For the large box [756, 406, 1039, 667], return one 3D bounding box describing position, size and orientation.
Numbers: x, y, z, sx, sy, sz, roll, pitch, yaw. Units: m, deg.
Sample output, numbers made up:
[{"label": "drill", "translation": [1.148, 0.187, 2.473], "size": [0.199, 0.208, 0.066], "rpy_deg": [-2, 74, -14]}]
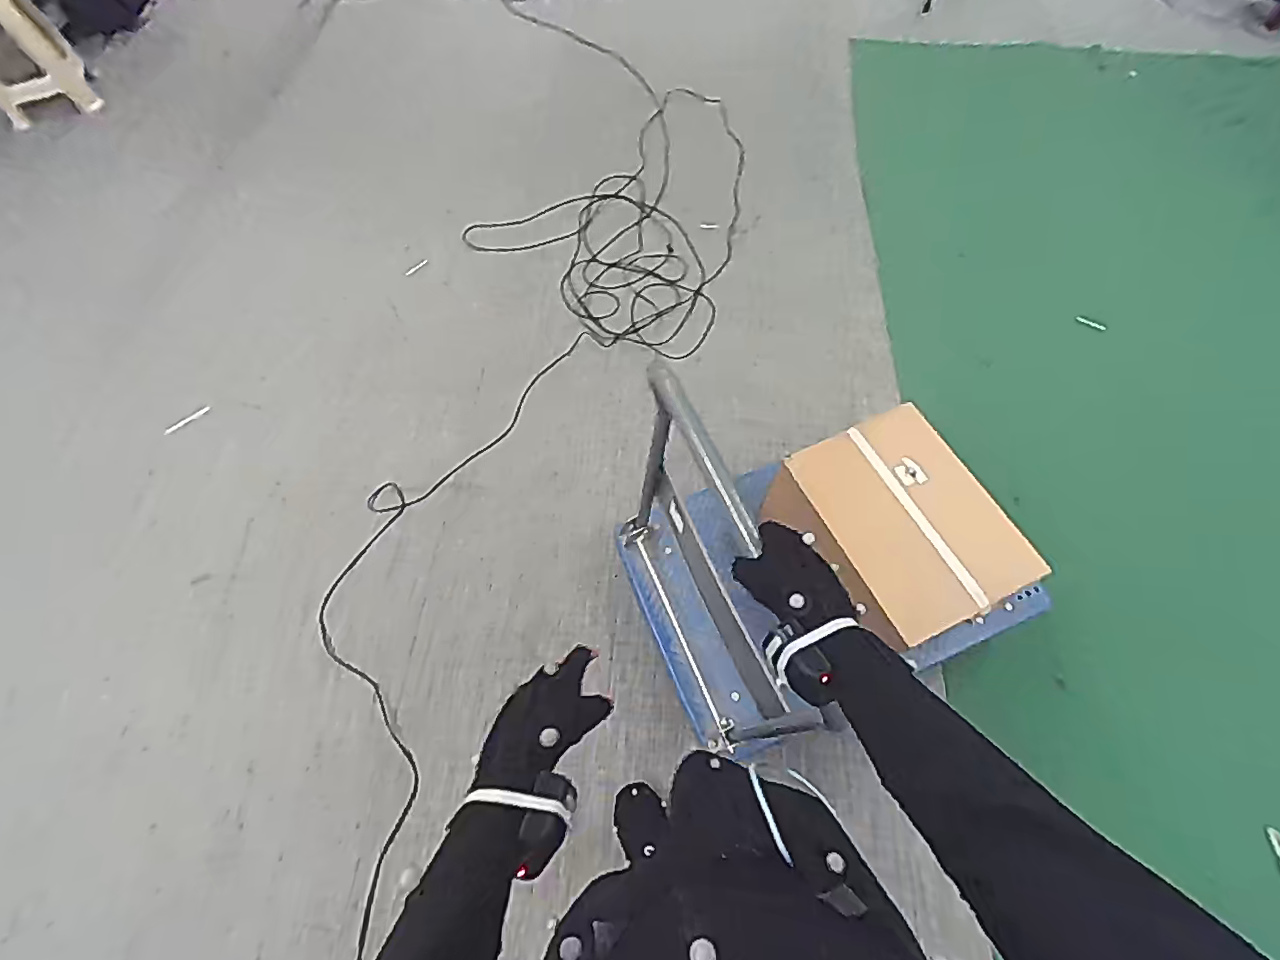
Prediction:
[{"label": "large box", "translation": [0.500, 0.127, 1.153], "size": [0.320, 0.320, 0.408], "rpy_deg": [-23, 65, -11]}]
